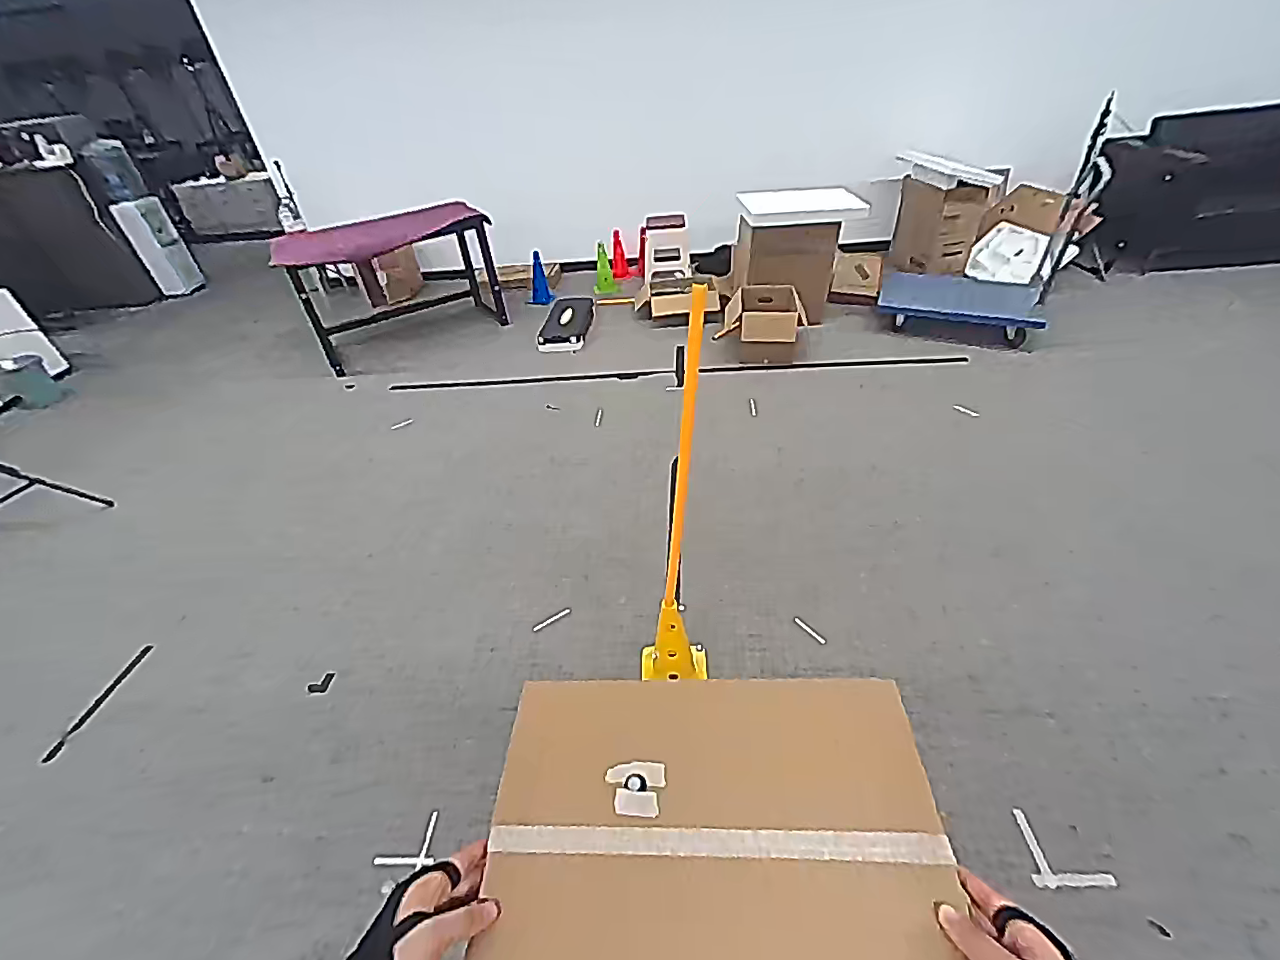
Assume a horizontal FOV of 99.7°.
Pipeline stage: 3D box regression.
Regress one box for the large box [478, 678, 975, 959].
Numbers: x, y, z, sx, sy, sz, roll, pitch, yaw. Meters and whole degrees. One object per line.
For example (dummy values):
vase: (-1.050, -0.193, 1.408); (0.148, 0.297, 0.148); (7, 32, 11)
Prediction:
large box: (0.084, 0.442, 0.589); (0.408, 0.320, 0.320); (-4, 41, 7)
